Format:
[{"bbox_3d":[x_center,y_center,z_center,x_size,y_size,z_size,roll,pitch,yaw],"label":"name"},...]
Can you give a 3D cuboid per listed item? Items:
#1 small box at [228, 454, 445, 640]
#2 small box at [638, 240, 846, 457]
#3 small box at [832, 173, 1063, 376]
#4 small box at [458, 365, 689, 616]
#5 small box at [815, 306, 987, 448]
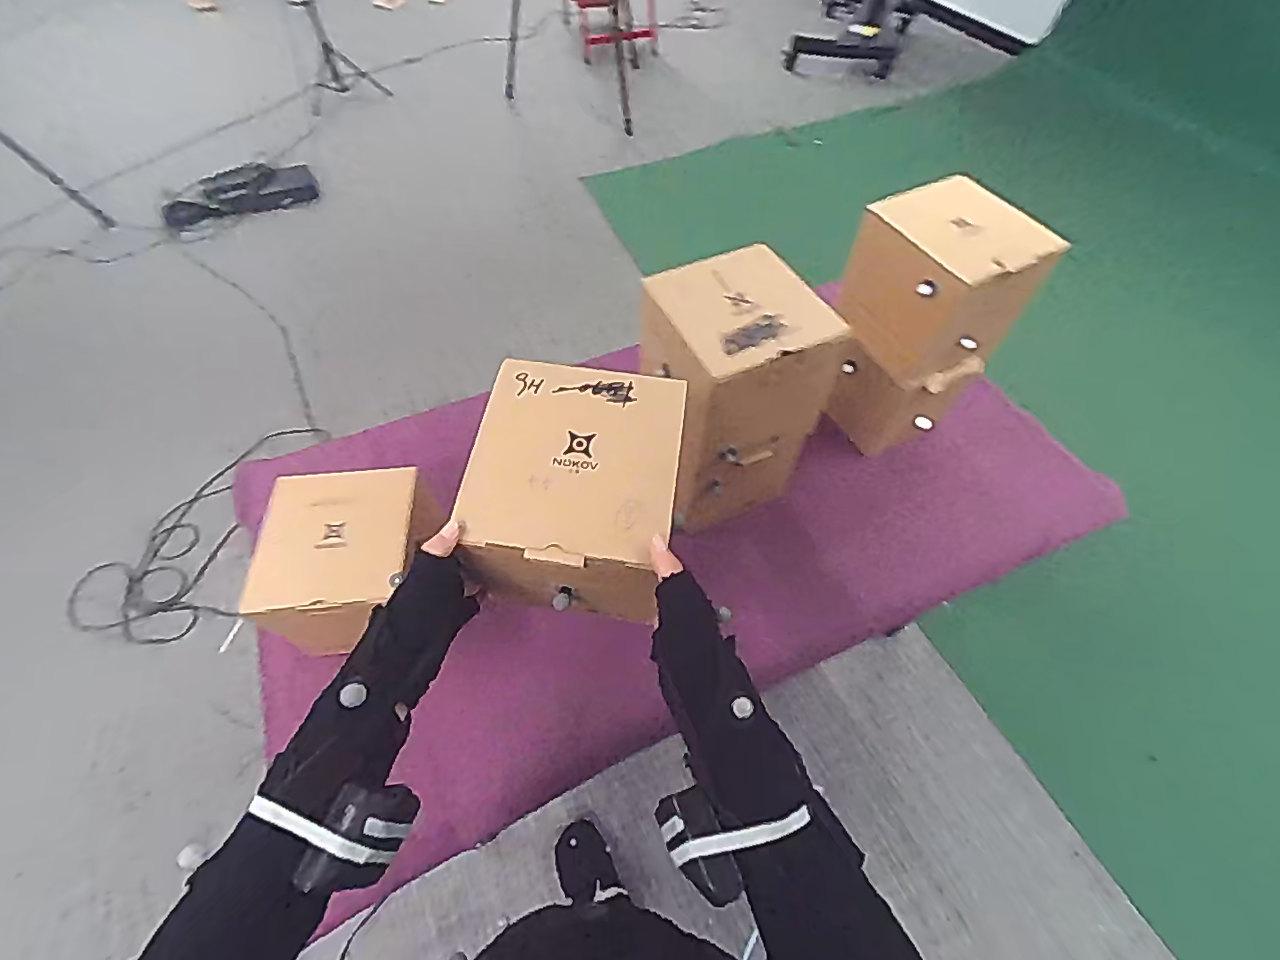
[{"bbox_3d":[-0.352,0.091,0.670,0.168,0.176,0.179,-4,58,-4],"label":"small box"},{"bbox_3d":[0.107,-0.148,0.648,0.168,0.176,0.179,-21,59,-14],"label":"small box"},{"bbox_3d":[0.394,-0.274,0.732,0.168,0.176,0.179,-24,62,-15],"label":"small box"},{"bbox_3d":[-0.046,0.019,0.503,0.168,0.176,0.179,5,62,2],"label":"small box"},{"bbox_3d":[0.392,-0.183,0.867,0.168,0.176,0.179,-25,62,-14],"label":"small box"}]
